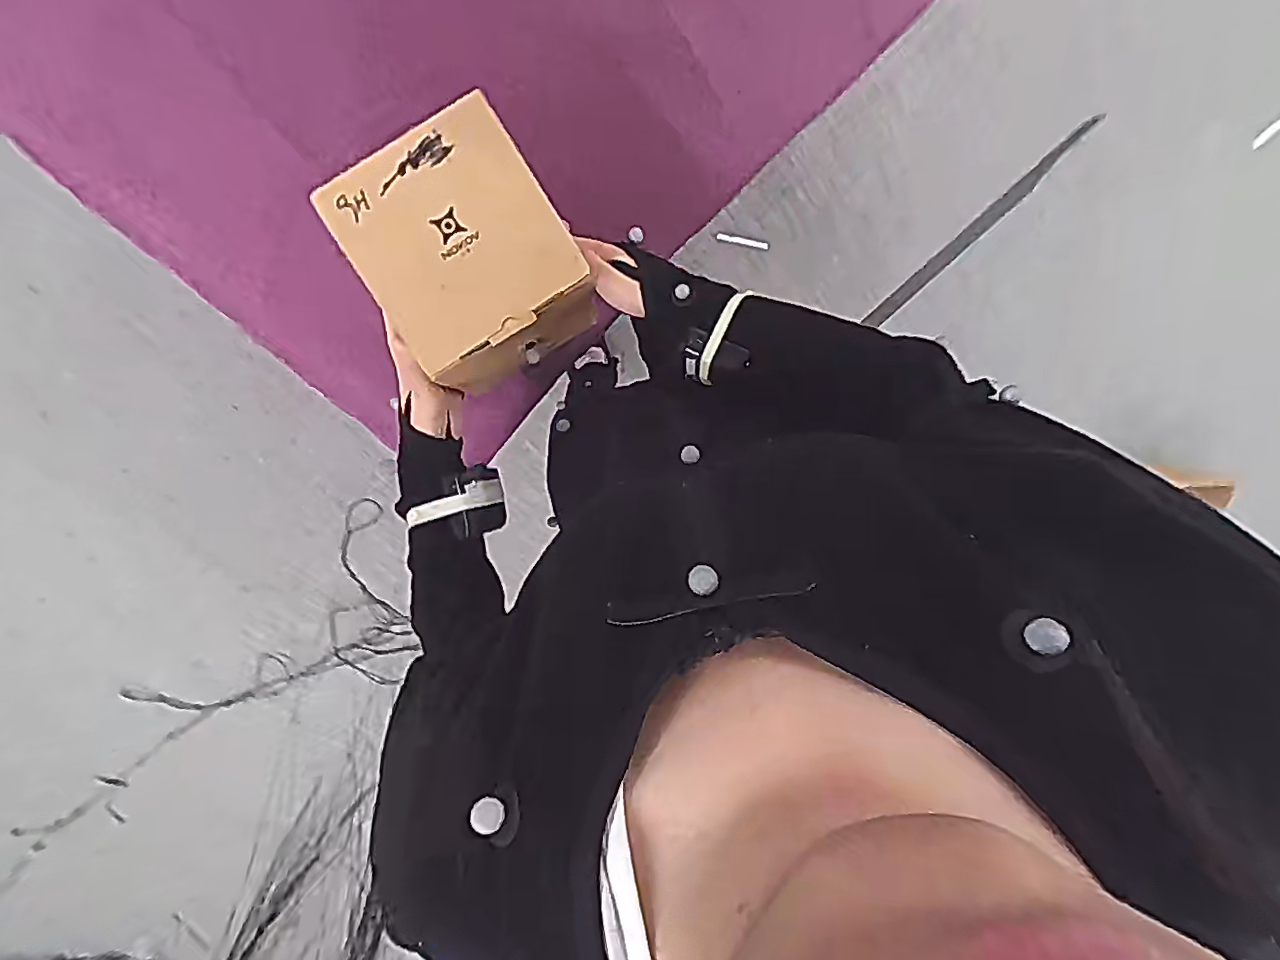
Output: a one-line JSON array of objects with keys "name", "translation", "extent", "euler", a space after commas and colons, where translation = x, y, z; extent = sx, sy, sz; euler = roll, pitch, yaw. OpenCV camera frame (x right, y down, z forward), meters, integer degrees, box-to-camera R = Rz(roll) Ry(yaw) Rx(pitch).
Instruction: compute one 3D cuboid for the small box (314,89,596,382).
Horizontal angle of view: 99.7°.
[{"name": "small box", "translation": [-0.153, -0.208, 0.521], "extent": [0.168, 0.176, 0.179], "euler": [-33, 96, 0]}]
